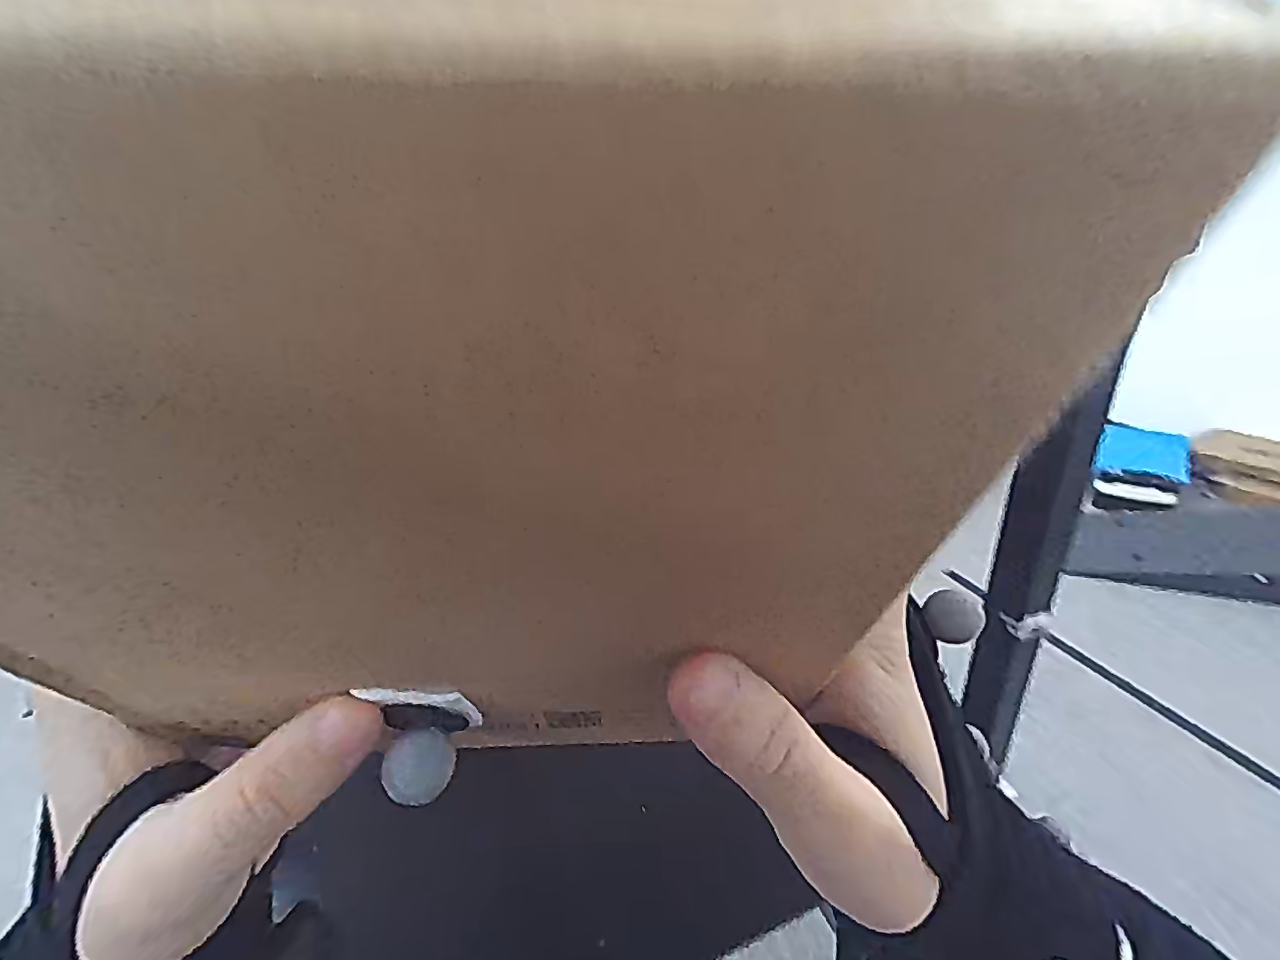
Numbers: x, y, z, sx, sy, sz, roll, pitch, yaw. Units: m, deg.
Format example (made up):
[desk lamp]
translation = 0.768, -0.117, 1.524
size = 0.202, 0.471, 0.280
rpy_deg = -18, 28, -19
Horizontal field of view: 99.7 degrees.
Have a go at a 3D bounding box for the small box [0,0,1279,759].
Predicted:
[small box]
translation = -0.035, -0.040, 0.148
size = 0.168, 0.176, 0.179
rpy_deg = -2, 52, -2
